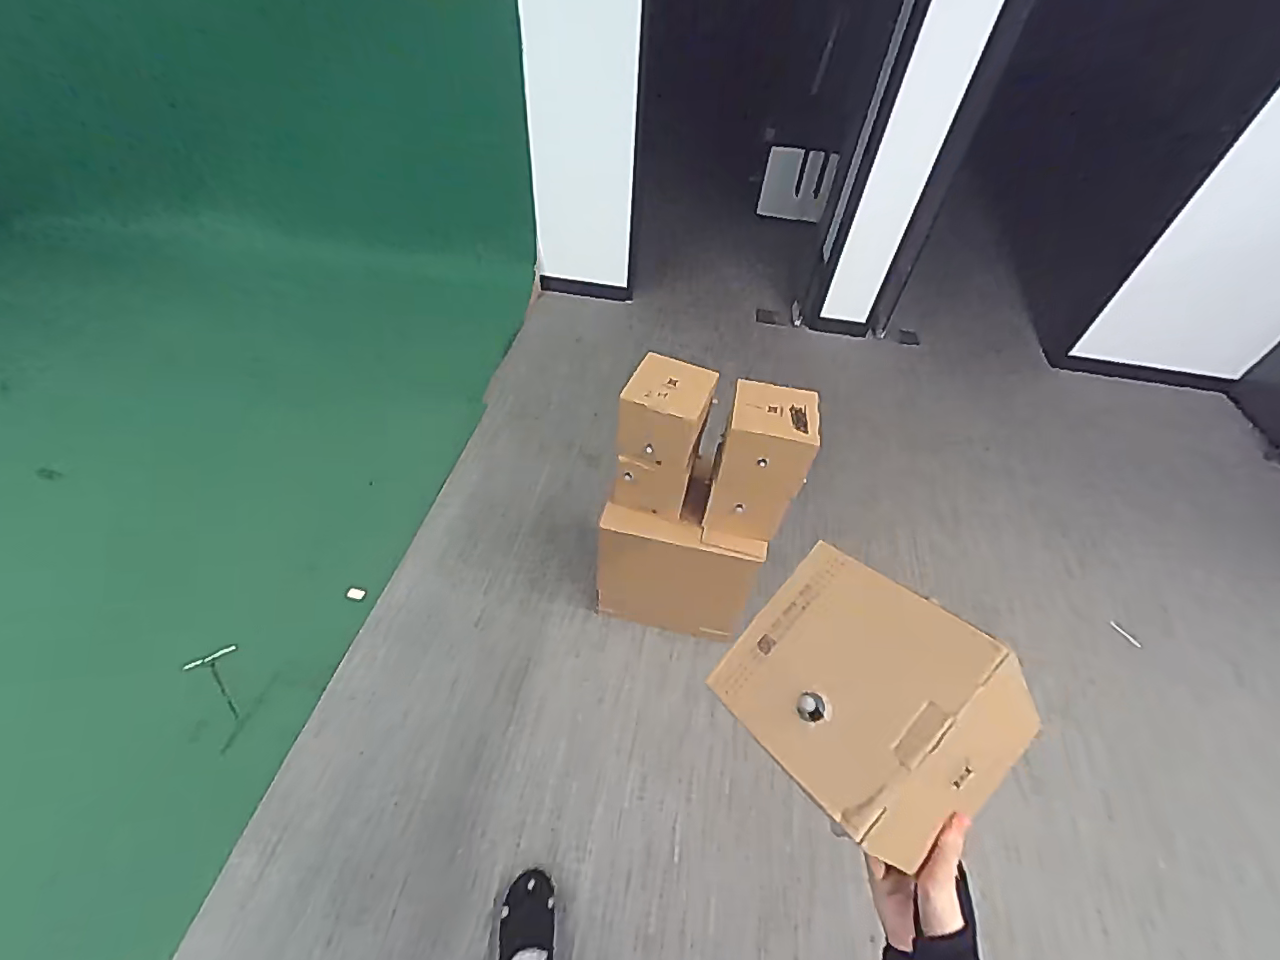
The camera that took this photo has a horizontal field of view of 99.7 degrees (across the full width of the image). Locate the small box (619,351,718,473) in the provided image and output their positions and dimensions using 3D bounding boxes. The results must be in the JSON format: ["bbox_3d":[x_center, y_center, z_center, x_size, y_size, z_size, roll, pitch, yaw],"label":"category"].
[{"bbox_3d":[0.058,-0.148,1.191,0.168,0.176,0.179,19,51,11],"label":"small box"}]

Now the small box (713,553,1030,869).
[{"bbox_3d":[0.195,0.187,0.472,0.168,0.179,0.176,-48,37,-5],"label":"small box"}]
